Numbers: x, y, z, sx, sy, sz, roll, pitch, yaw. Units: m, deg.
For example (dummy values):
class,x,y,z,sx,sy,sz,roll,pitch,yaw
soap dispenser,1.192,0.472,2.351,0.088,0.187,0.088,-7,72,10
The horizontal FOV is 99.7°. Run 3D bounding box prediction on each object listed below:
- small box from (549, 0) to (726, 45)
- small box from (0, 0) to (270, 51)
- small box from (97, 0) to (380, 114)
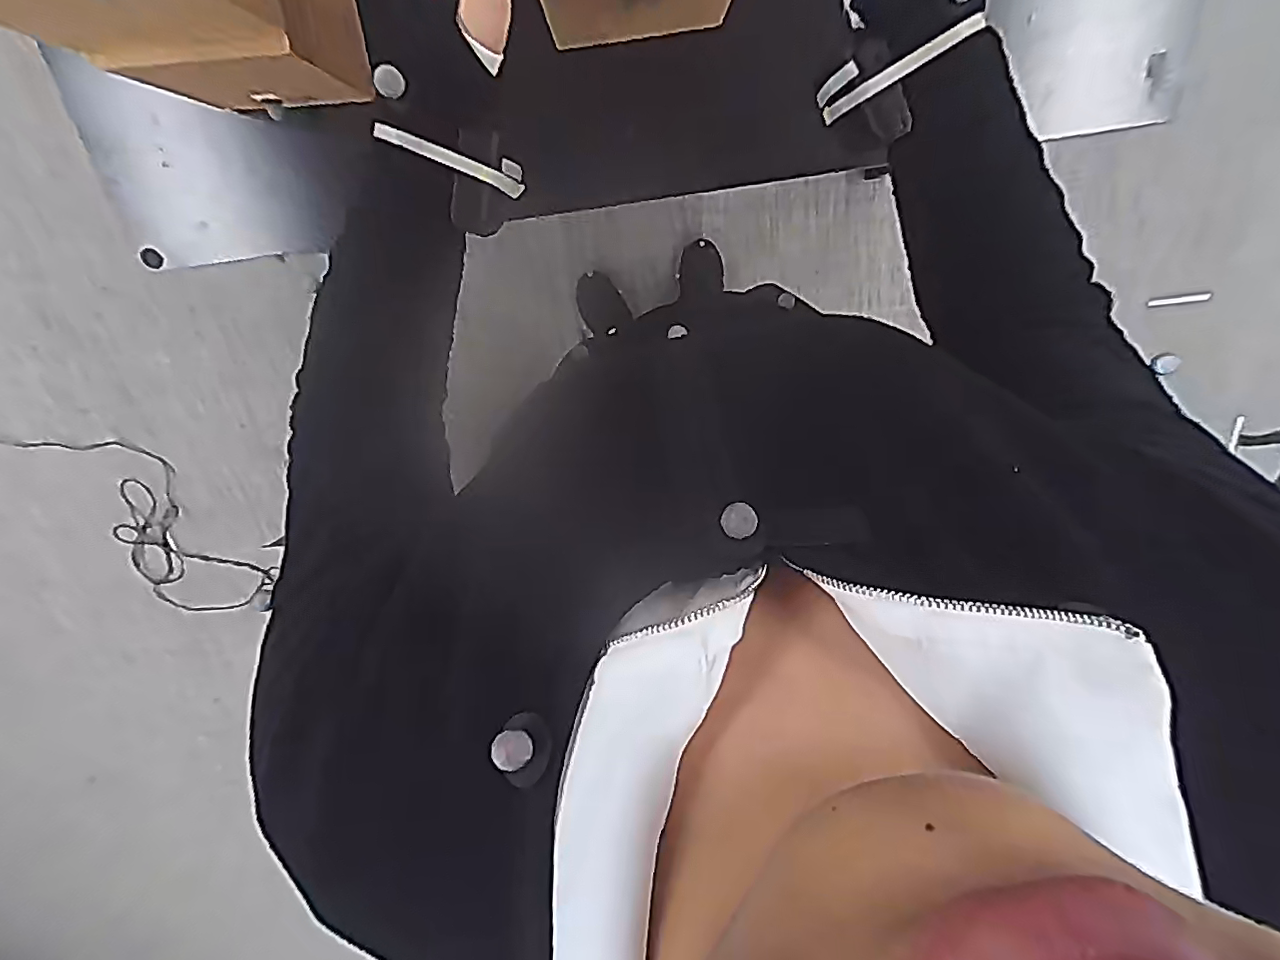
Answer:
class,x,y,z,sx,sy,sz,roll,pitch,yaw
small box,-0.006,-0.506,0.462,0.179,0.176,0.168,-7,114,1
small box,-0.367,-0.391,0.327,0.179,0.176,0.168,-4,113,2
small box,-0.364,-0.452,0.481,0.168,0.176,0.179,-4,115,2
